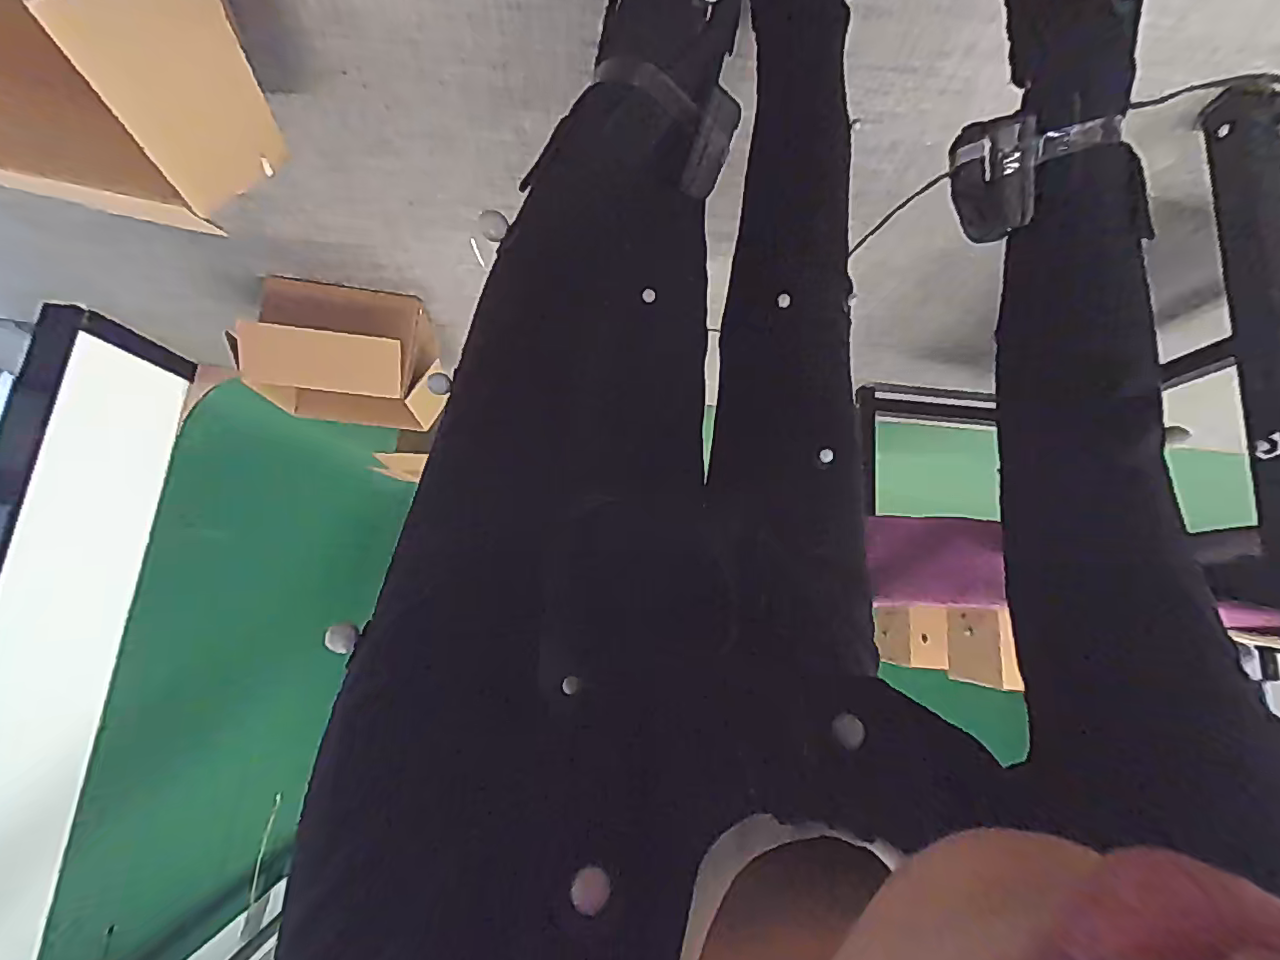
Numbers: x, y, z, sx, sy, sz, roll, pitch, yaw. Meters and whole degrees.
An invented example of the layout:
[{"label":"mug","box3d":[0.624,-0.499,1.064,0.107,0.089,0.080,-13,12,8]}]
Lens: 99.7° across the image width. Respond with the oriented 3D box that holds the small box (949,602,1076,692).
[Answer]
[{"label":"small box","box3d":[0.833,0.371,1.222,0.179,0.176,0.168,6,168,-7]}]
